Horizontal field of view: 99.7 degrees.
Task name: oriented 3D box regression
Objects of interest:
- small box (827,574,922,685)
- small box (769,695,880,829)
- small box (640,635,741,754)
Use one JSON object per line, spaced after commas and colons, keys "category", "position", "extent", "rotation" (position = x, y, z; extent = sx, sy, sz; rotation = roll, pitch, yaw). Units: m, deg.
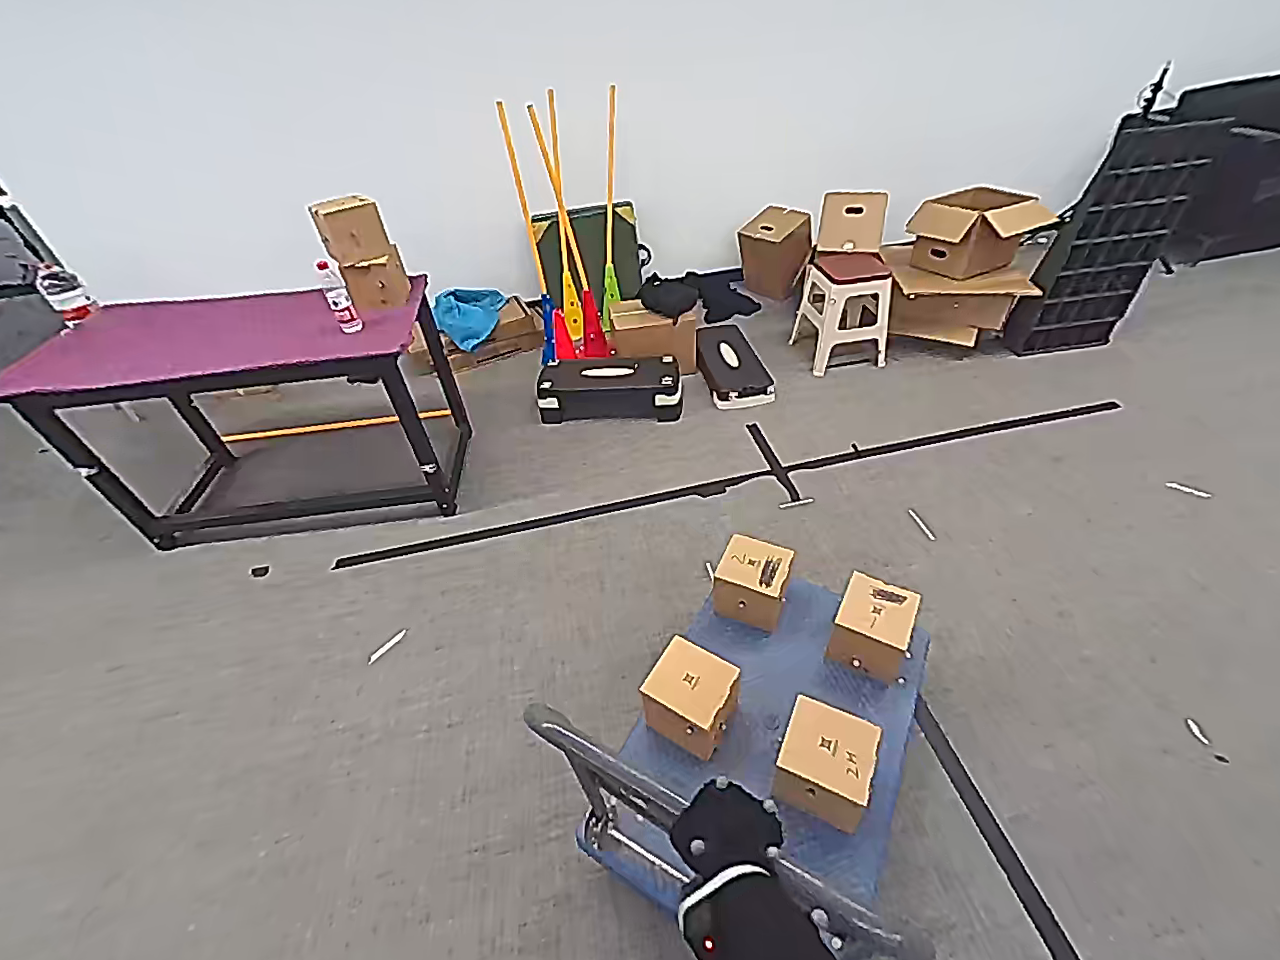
{"category": "small box", "position": [0.587, 0.377, 1.366], "extent": [0.168, 0.176, 0.179], "rotation": [20, 49, 26]}
{"category": "small box", "position": [0.384, 0.599, 1.143], "extent": [0.179, 0.176, 0.168], "rotation": [18, 47, 23]}
{"category": "small box", "position": [0.118, 0.507, 1.272], "extent": [0.179, 0.176, 0.168], "rotation": [23, 49, 25]}
